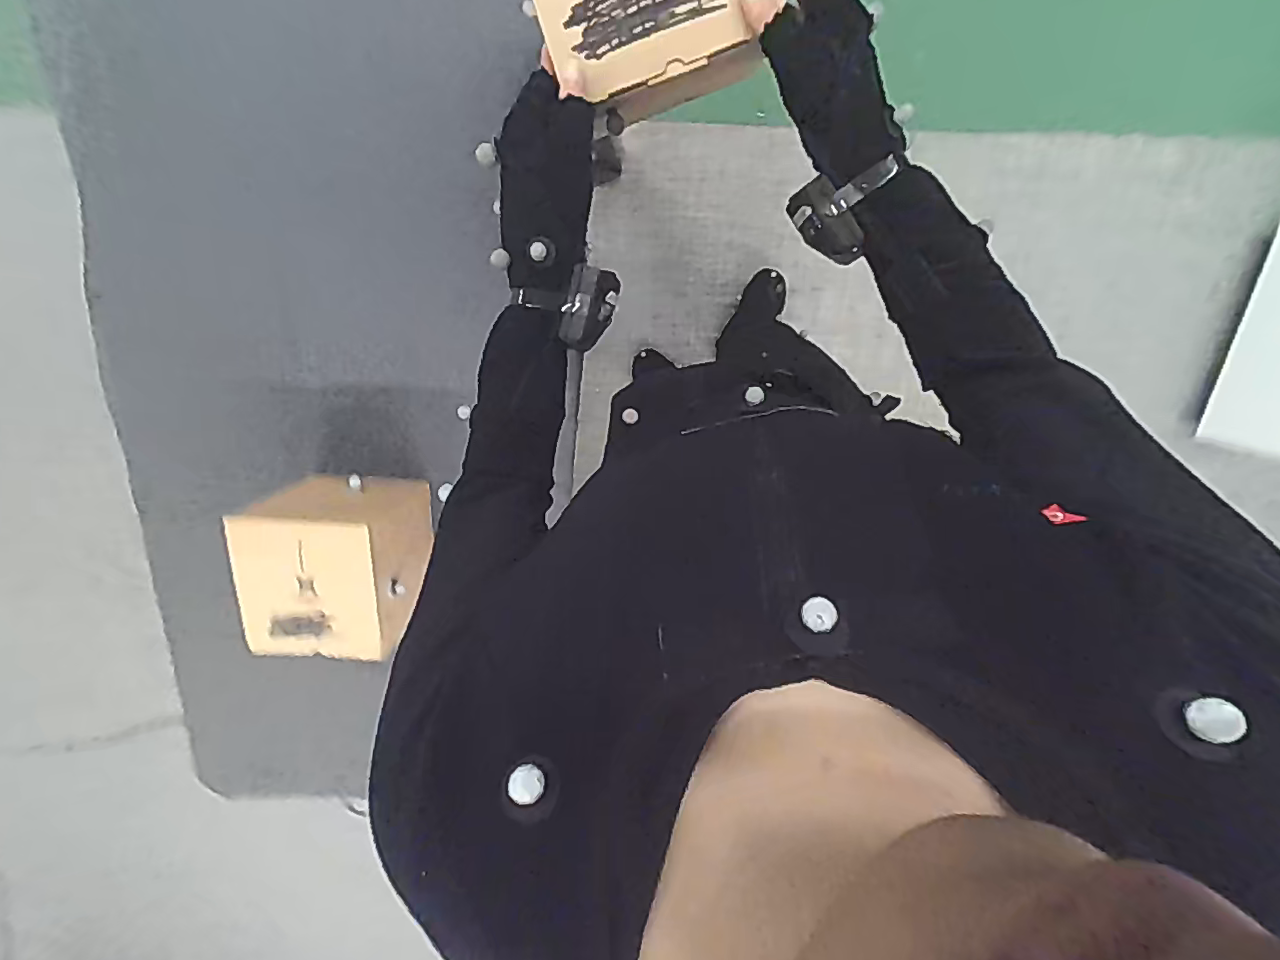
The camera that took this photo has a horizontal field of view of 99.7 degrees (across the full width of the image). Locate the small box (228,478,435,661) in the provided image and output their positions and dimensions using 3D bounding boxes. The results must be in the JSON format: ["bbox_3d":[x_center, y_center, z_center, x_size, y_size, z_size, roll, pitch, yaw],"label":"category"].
[{"bbox_3d":[-0.379,0.108,0.702,0.168,0.176,0.179,3,106,2],"label":"small box"}]
